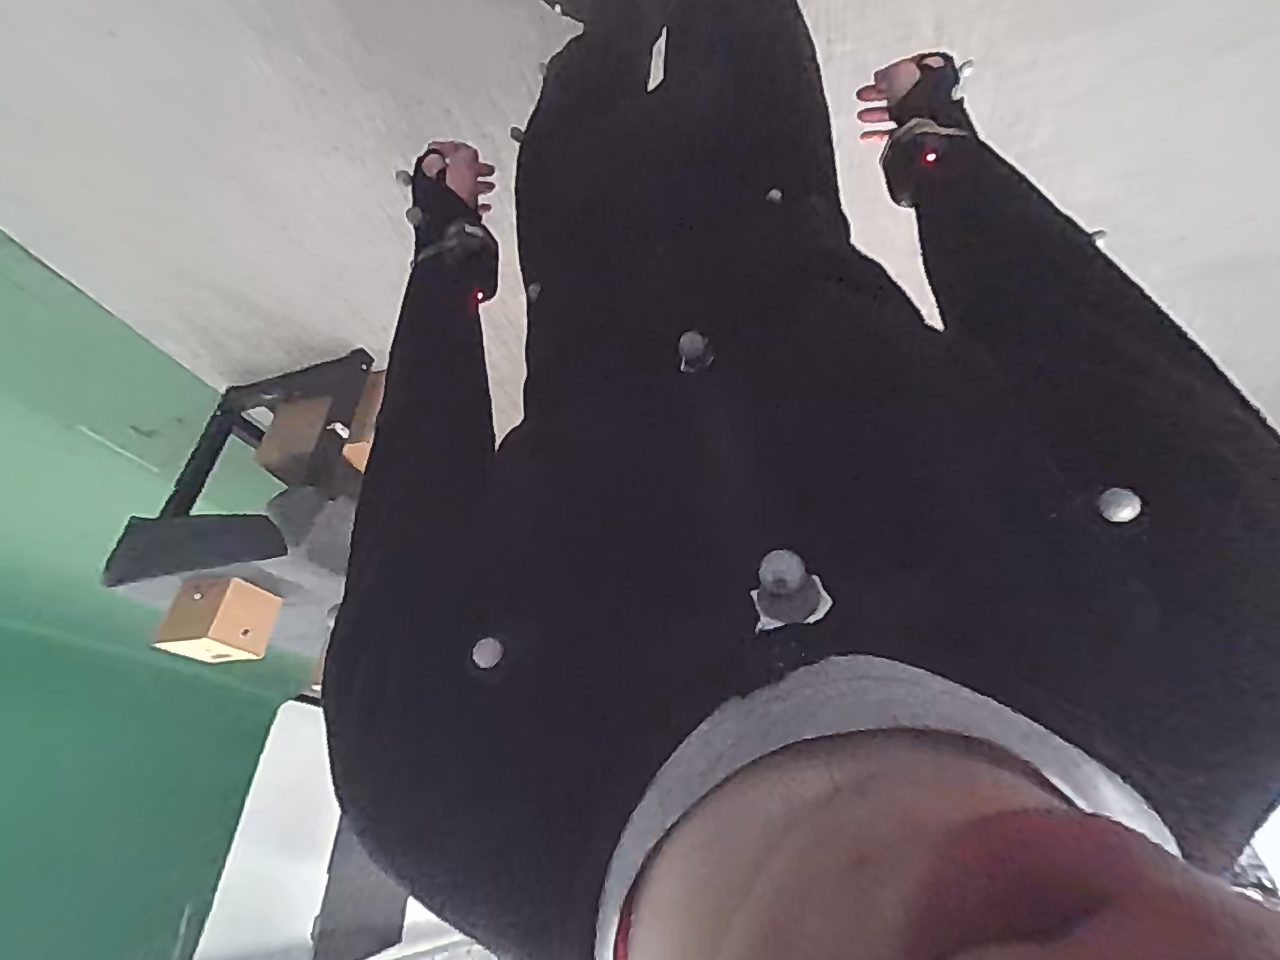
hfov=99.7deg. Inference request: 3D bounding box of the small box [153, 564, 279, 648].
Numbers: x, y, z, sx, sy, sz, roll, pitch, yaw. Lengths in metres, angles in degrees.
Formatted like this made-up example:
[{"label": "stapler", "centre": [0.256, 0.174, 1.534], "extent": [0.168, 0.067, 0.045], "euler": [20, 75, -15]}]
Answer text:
[{"label": "small box", "centre": [-1.113, 0.336, 1.439], "extent": [0.168, 0.176, 0.179], "euler": [-8, 146, 10]}]
